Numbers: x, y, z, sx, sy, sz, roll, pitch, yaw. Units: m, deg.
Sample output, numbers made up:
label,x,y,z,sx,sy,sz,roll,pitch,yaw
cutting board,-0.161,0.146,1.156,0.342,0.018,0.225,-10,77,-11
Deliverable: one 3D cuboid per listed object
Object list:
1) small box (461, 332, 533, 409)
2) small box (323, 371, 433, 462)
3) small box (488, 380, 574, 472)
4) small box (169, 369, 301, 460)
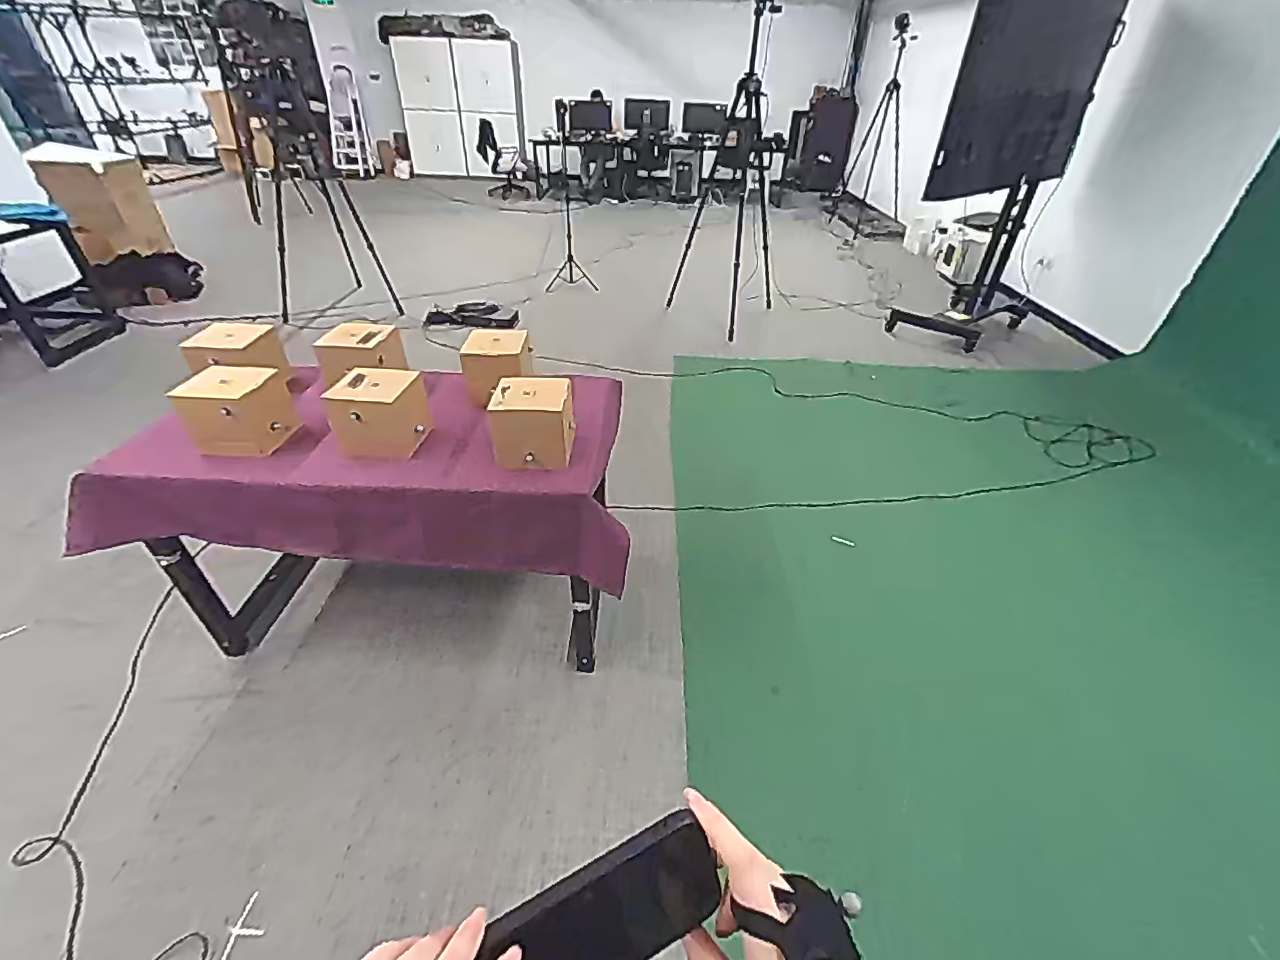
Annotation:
label,x,y,z,sx,sy,sz,roll,pitch,yaw
small box,-0.411,-0.321,1.589,0.168,0.176,0.179,0,37,-1
small box,-0.650,-0.160,1.364,0.179,0.176,0.168,5,37,3
small box,-0.261,-0.133,1.341,0.179,0.176,0.168,2,36,0
small box,-1.003,-0.165,1.357,0.179,0.176,0.168,4,36,1
